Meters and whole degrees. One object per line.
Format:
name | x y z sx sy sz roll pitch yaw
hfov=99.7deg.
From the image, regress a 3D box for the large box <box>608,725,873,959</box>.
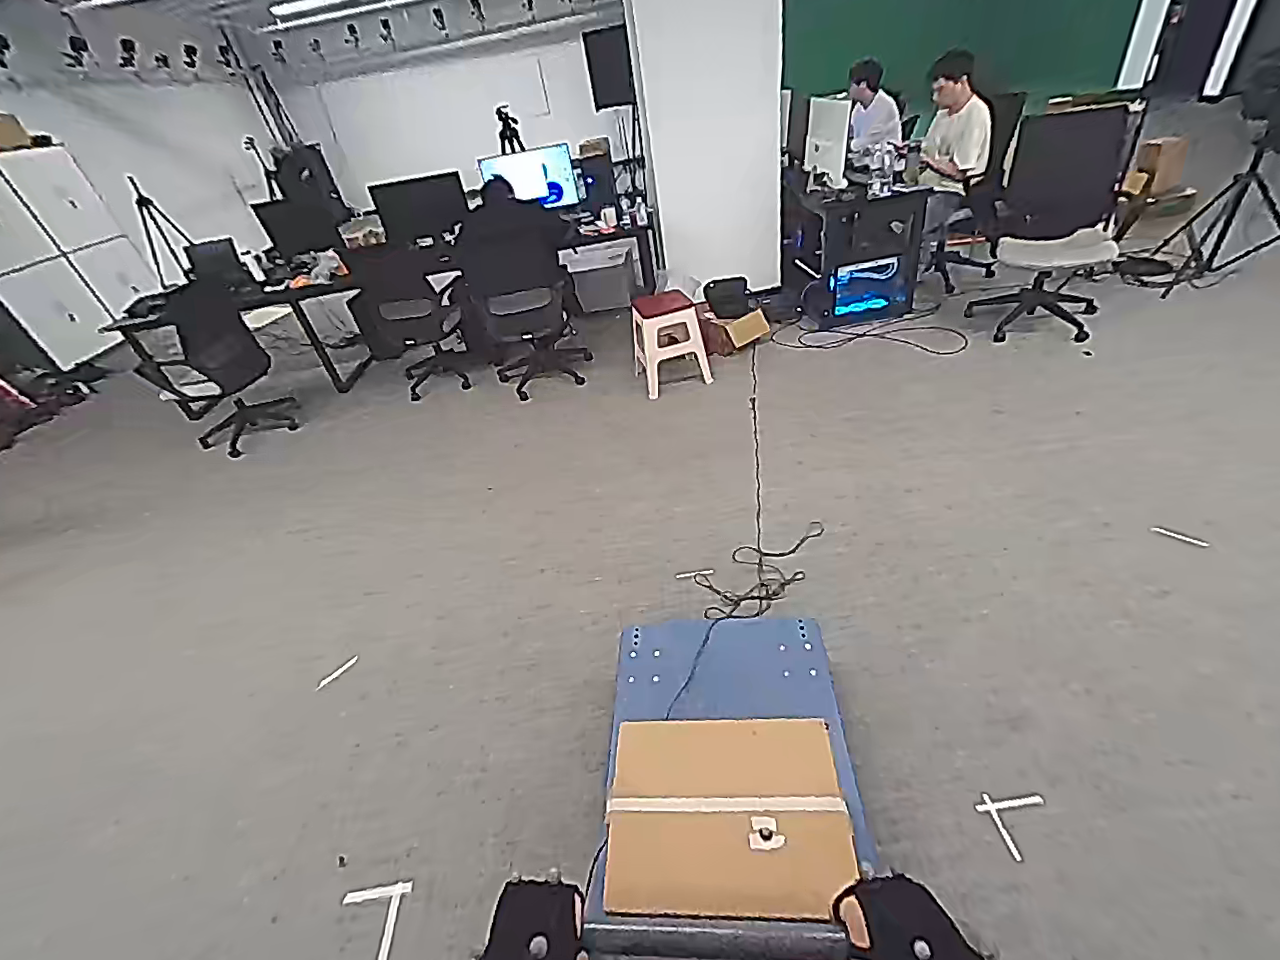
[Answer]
large box | 0.171 0.690 1.012 0.408 0.320 0.320 -4 38 7
